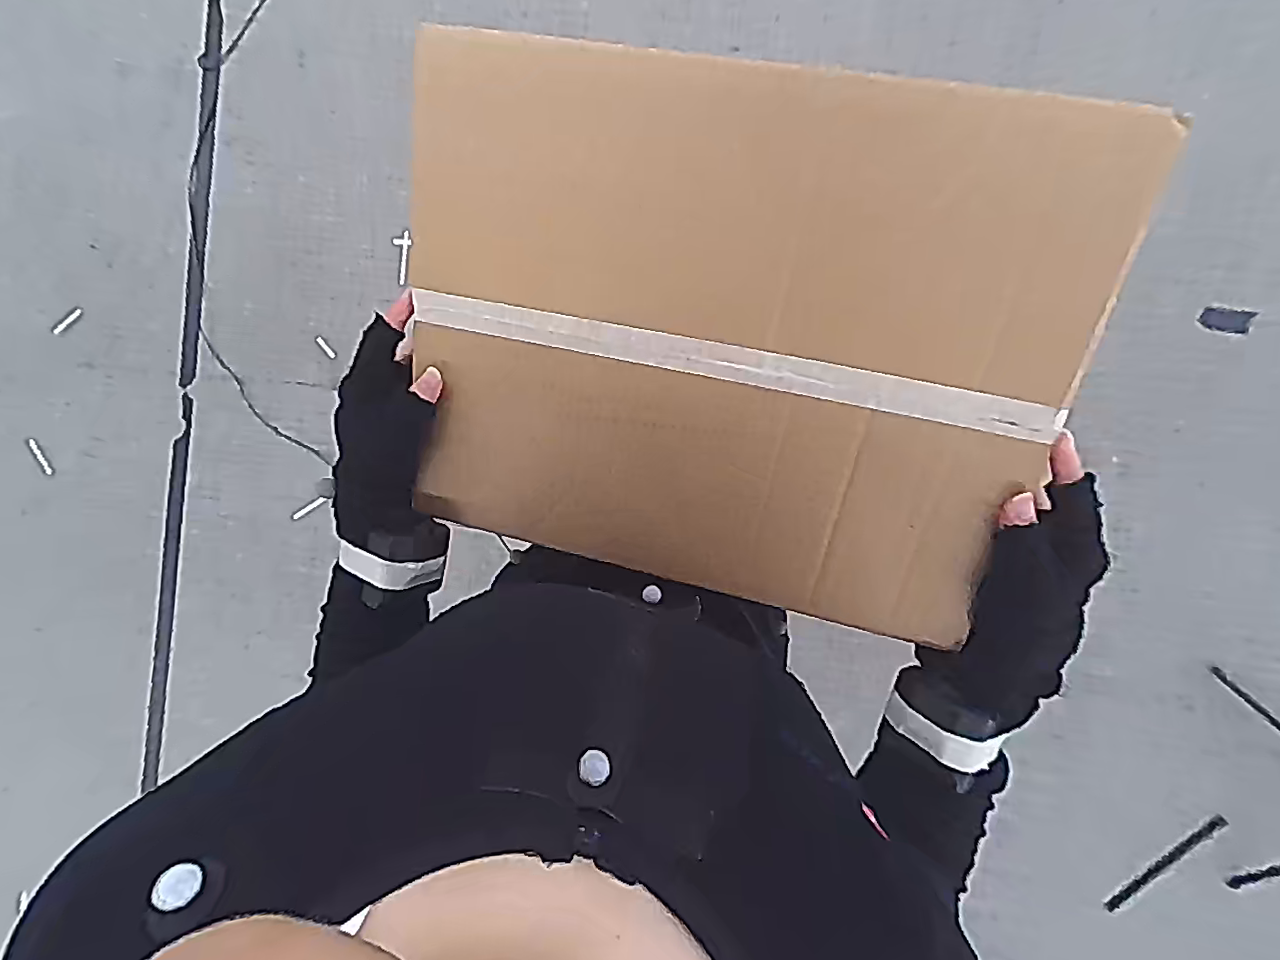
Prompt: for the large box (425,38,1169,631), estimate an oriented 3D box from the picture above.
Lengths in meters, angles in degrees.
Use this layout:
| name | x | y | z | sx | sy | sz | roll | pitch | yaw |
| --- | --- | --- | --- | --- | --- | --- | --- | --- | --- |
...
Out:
| name | x | y | z | sx | sy | sz | roll | pitch | yaw |
| --- | --- | --- | --- | --- | --- | --- | --- | --- | --- |
| large box | 0.077 | -0.125 | 0.483 | 0.408 | 0.320 | 0.320 | 14 | 111 | 8 |
